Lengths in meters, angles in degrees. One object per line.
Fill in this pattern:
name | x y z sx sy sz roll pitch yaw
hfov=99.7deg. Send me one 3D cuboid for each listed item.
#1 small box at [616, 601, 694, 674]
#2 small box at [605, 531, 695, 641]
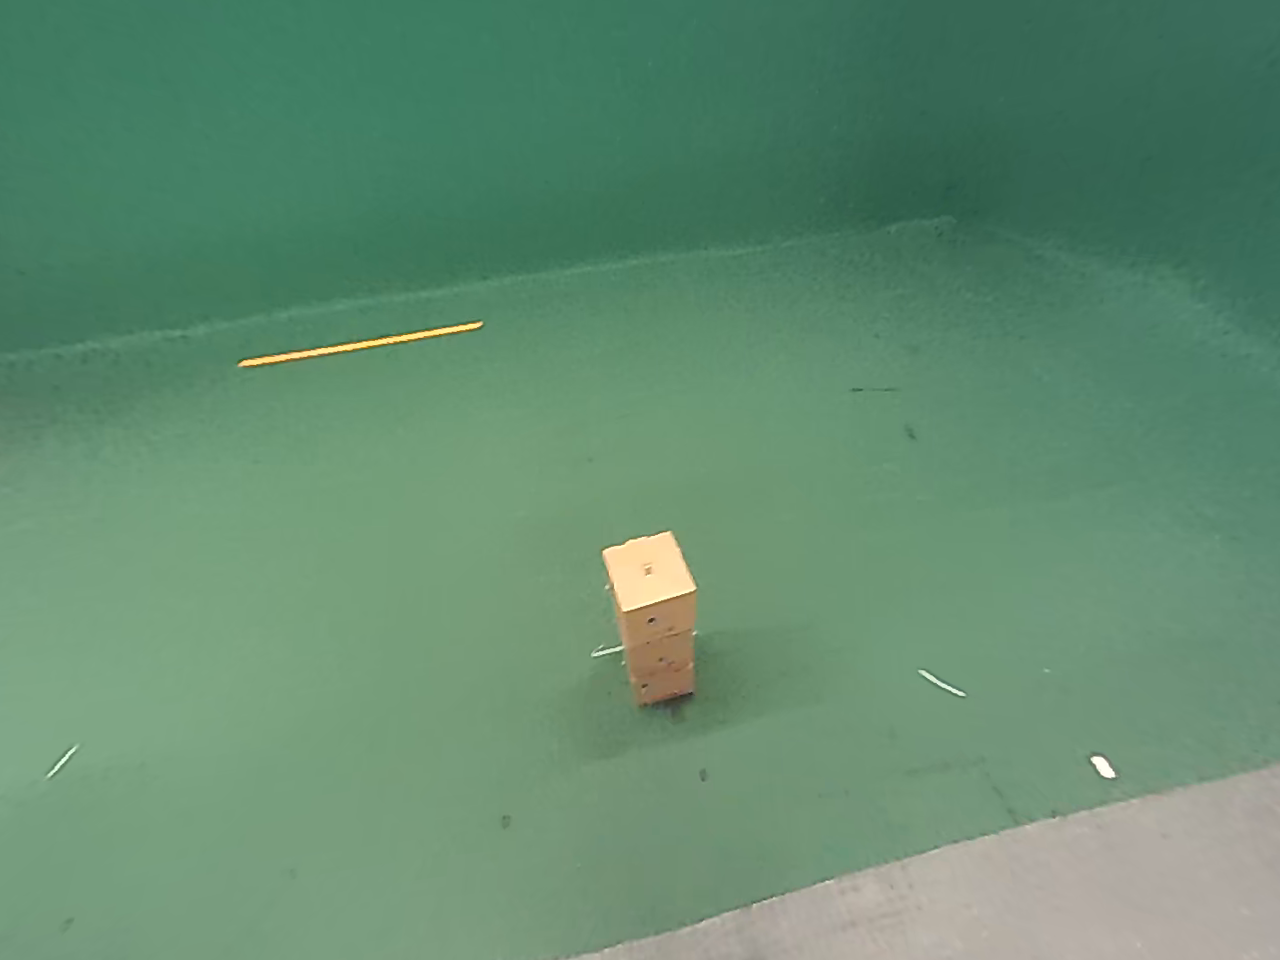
small box | 0.035 0.364 1.381 0.168 0.176 0.179 -13 46 -7
small box | 0.026 0.255 1.262 0.168 0.176 0.179 -15 46 -9
